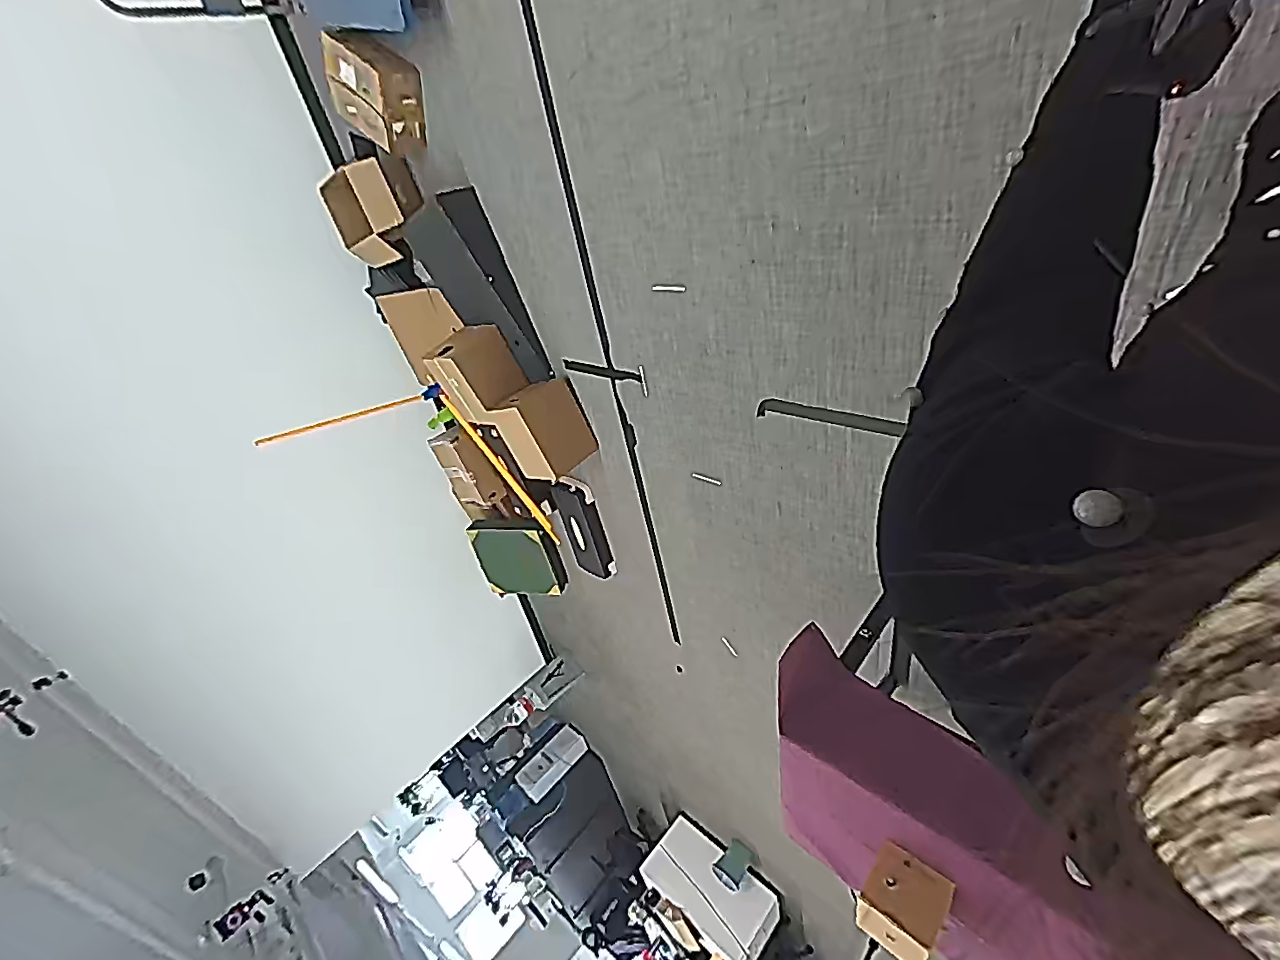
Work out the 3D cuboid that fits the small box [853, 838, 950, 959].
[{"bbox_3d":[0.647,1.040,1.338,0.168,0.176,0.179,20,135,41],"label":"small box"}]
